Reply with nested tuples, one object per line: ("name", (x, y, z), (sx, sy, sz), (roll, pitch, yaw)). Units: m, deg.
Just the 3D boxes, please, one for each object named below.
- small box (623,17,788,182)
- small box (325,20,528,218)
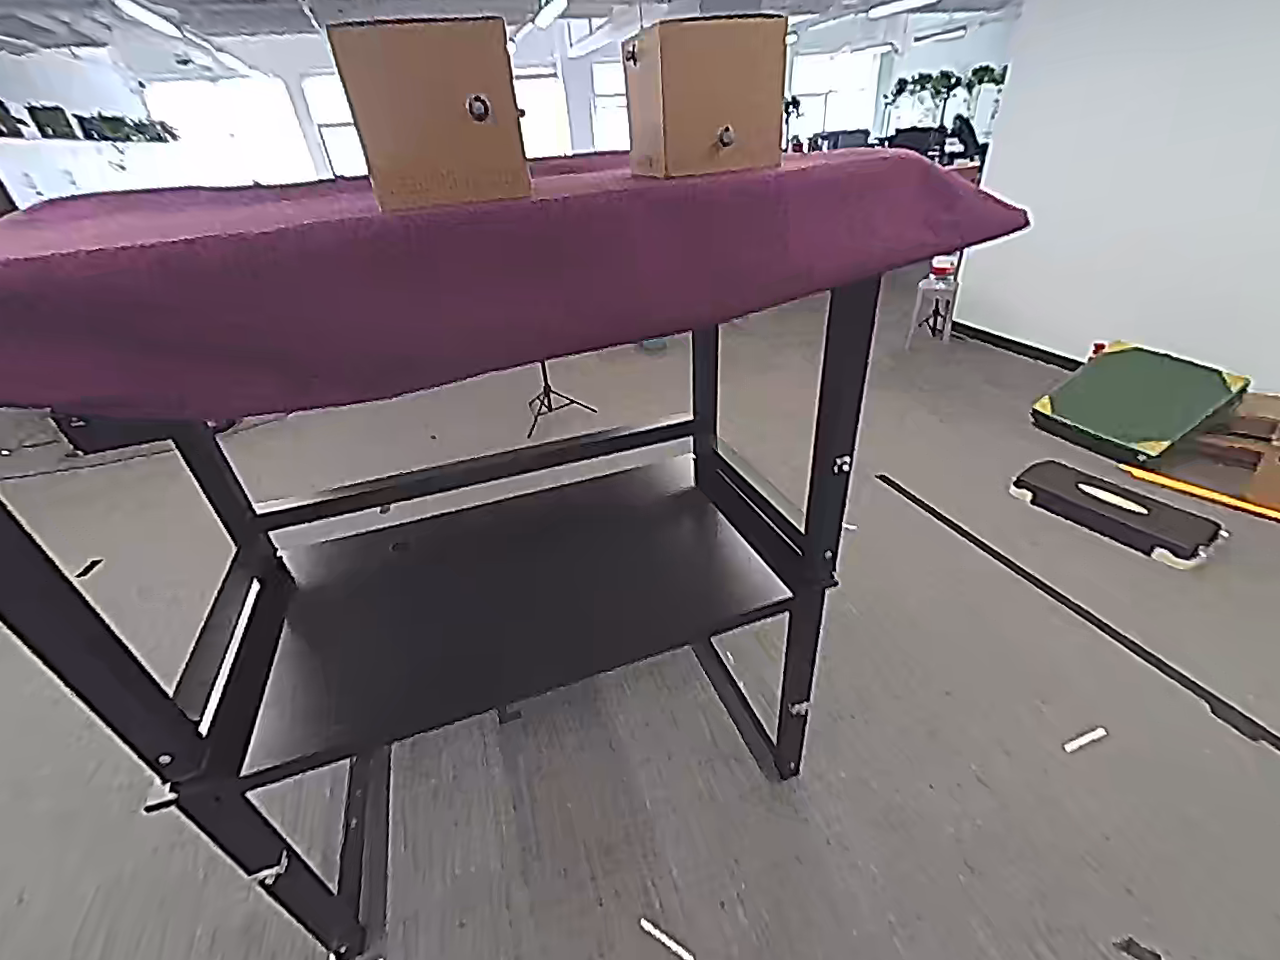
("small box", (0.084, -0.526, 0.761), (0.179, 0.176, 0.168), (-13, 32, -13))
("small box", (-0.234, -0.421, 0.644), (0.179, 0.176, 0.168), (-11, 32, -9))
